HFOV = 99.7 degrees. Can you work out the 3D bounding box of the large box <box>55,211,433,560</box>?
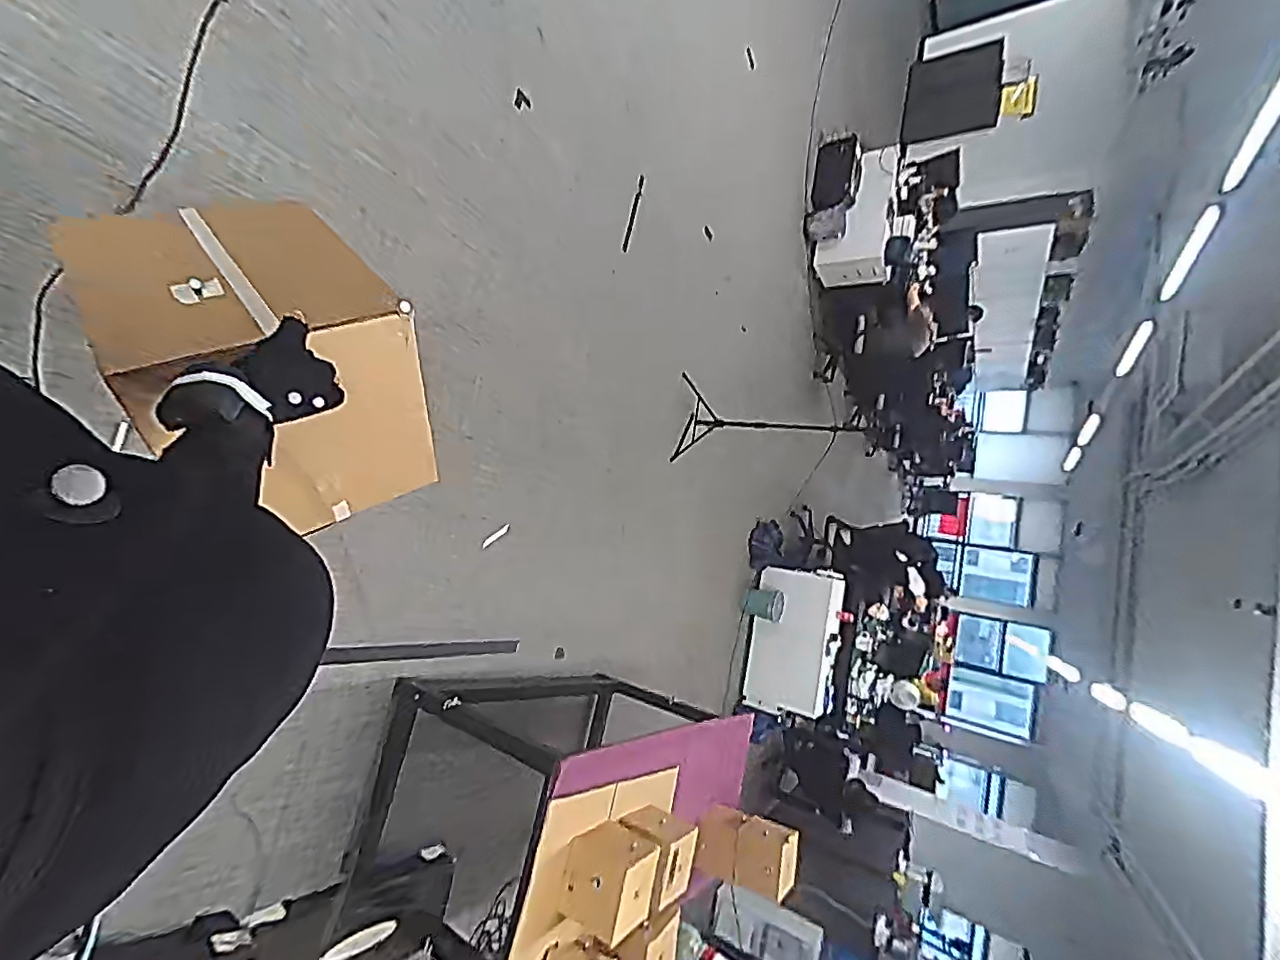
[{"bbox_3d":[-0.564,-0.162,0.820,0.320,0.408,0.320,-28,147,-33],"label":"large box"}]
